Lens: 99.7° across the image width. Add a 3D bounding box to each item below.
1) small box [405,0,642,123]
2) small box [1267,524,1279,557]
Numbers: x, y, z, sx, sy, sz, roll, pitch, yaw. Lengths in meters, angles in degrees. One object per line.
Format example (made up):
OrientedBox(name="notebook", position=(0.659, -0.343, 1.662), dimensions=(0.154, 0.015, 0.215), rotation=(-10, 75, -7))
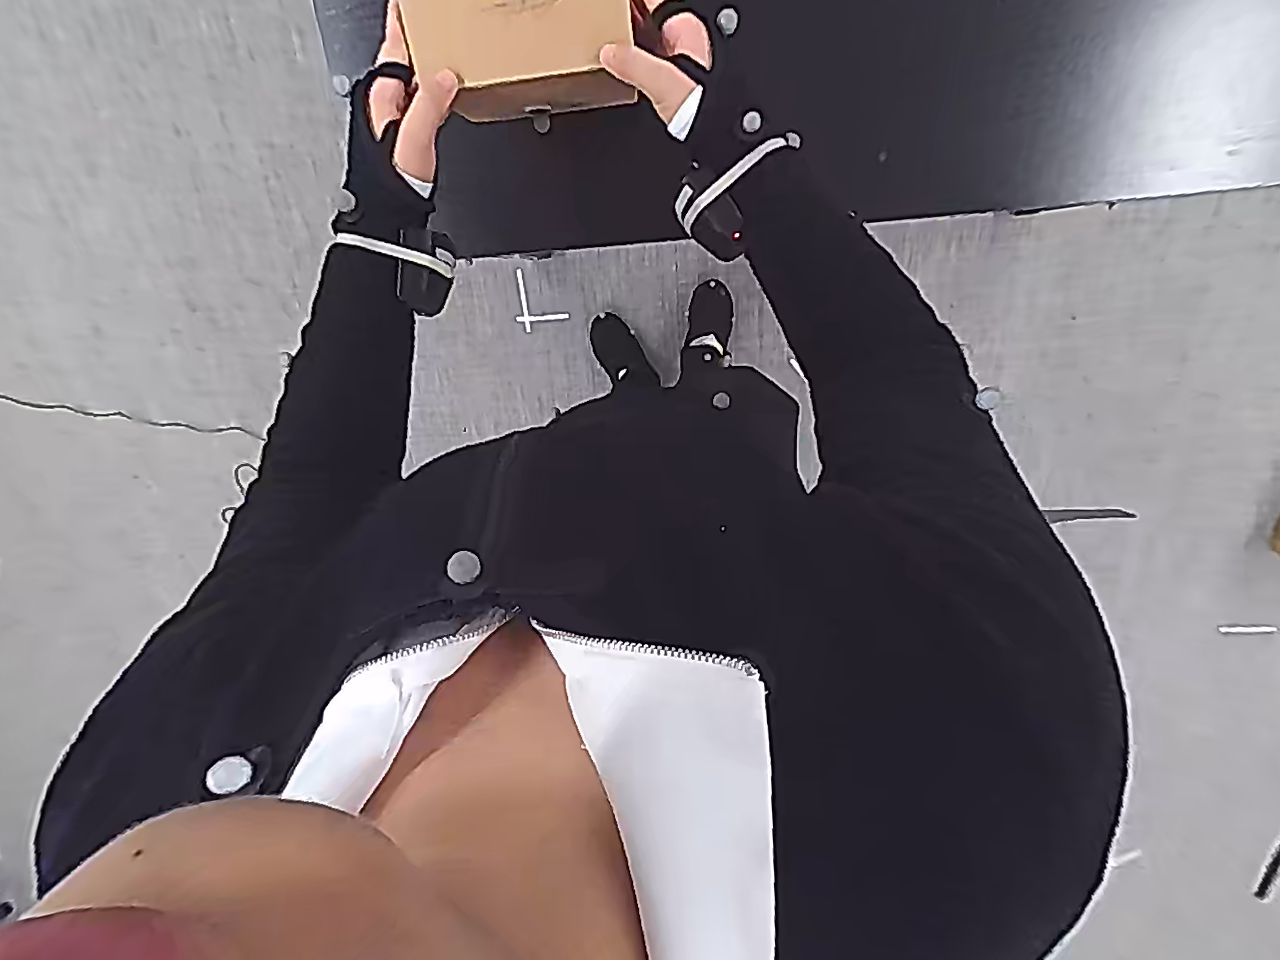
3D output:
OrientedBox(name="small box", position=(-0.089, -0.412, 0.438), dimensions=(0.168, 0.176, 0.179), rotation=(-6, 117, 4))
OrientedBox(name="small box", position=(1.826, 0.156, 1.405), dimensions=(0.179, 0.176, 0.168), rotation=(-1, 112, 5))
